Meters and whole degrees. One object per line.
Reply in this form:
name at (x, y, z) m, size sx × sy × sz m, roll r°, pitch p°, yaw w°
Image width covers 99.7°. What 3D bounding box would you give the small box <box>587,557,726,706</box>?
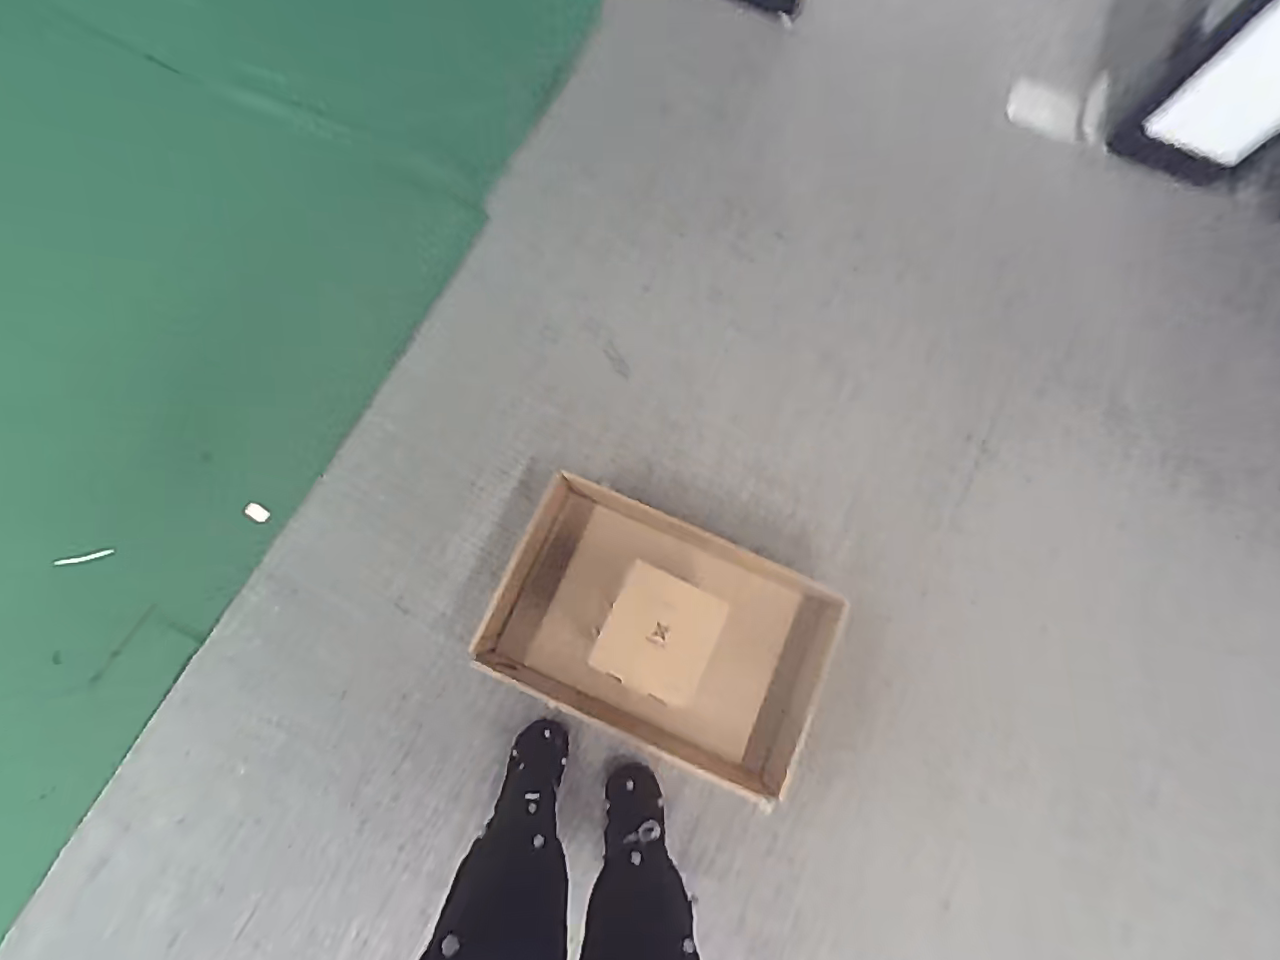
small box at (0.027, 0.241, 0.891) m, size 0.168 × 0.176 × 0.179 m, roll 21°, pitch 79°, yaw 4°
